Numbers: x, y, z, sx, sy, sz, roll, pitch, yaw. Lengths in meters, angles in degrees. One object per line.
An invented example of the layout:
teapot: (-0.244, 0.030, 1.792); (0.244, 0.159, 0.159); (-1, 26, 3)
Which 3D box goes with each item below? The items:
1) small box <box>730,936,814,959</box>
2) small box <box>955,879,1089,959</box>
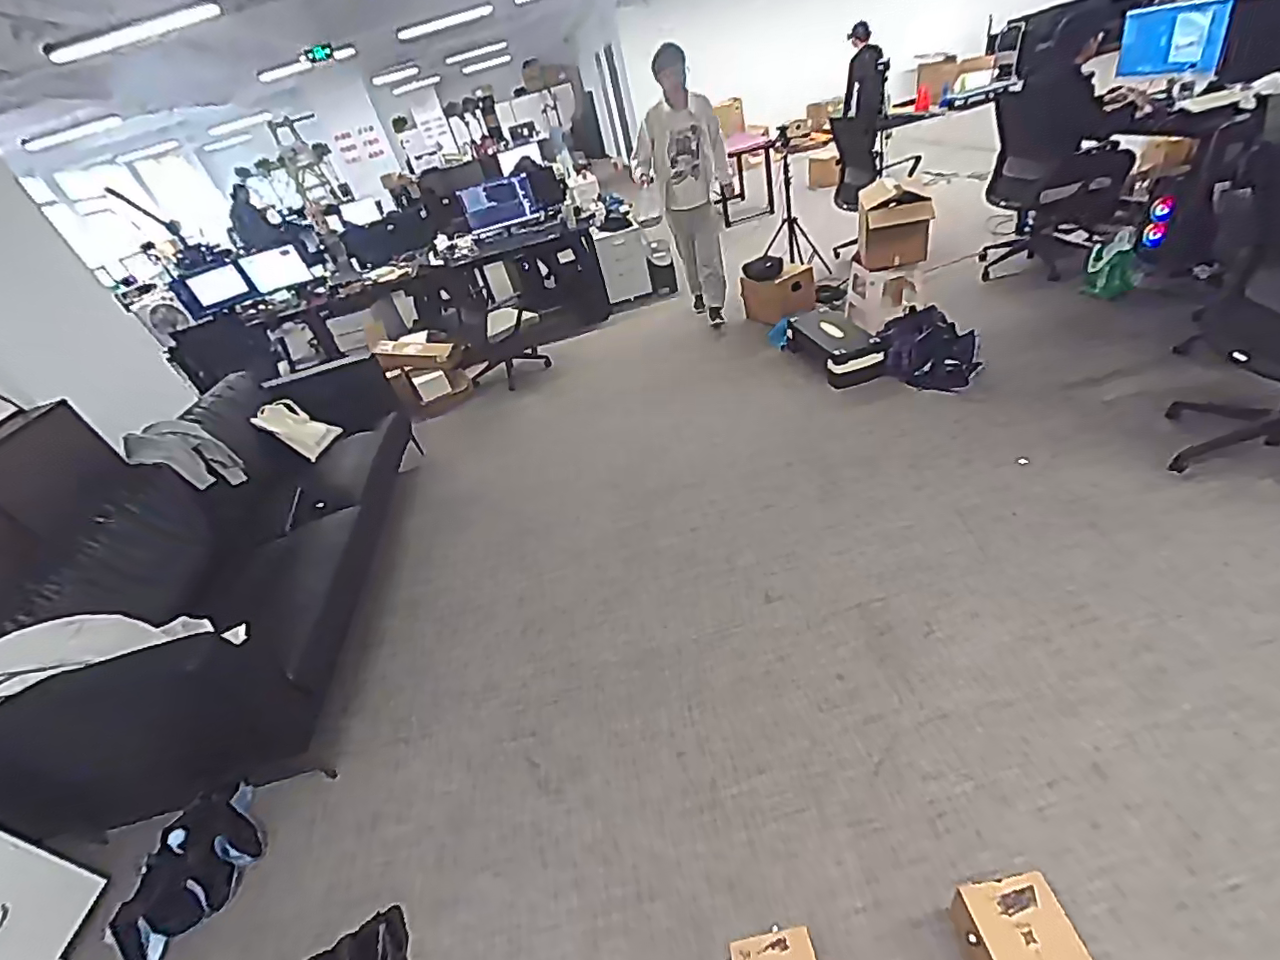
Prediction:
small box: (0.289, 1.056, 1.077); (0.168, 0.176, 0.179); (-15, 35, 3)
small box: (0.748, 0.928, 1.061); (0.168, 0.176, 0.179); (-16, 36, 3)
